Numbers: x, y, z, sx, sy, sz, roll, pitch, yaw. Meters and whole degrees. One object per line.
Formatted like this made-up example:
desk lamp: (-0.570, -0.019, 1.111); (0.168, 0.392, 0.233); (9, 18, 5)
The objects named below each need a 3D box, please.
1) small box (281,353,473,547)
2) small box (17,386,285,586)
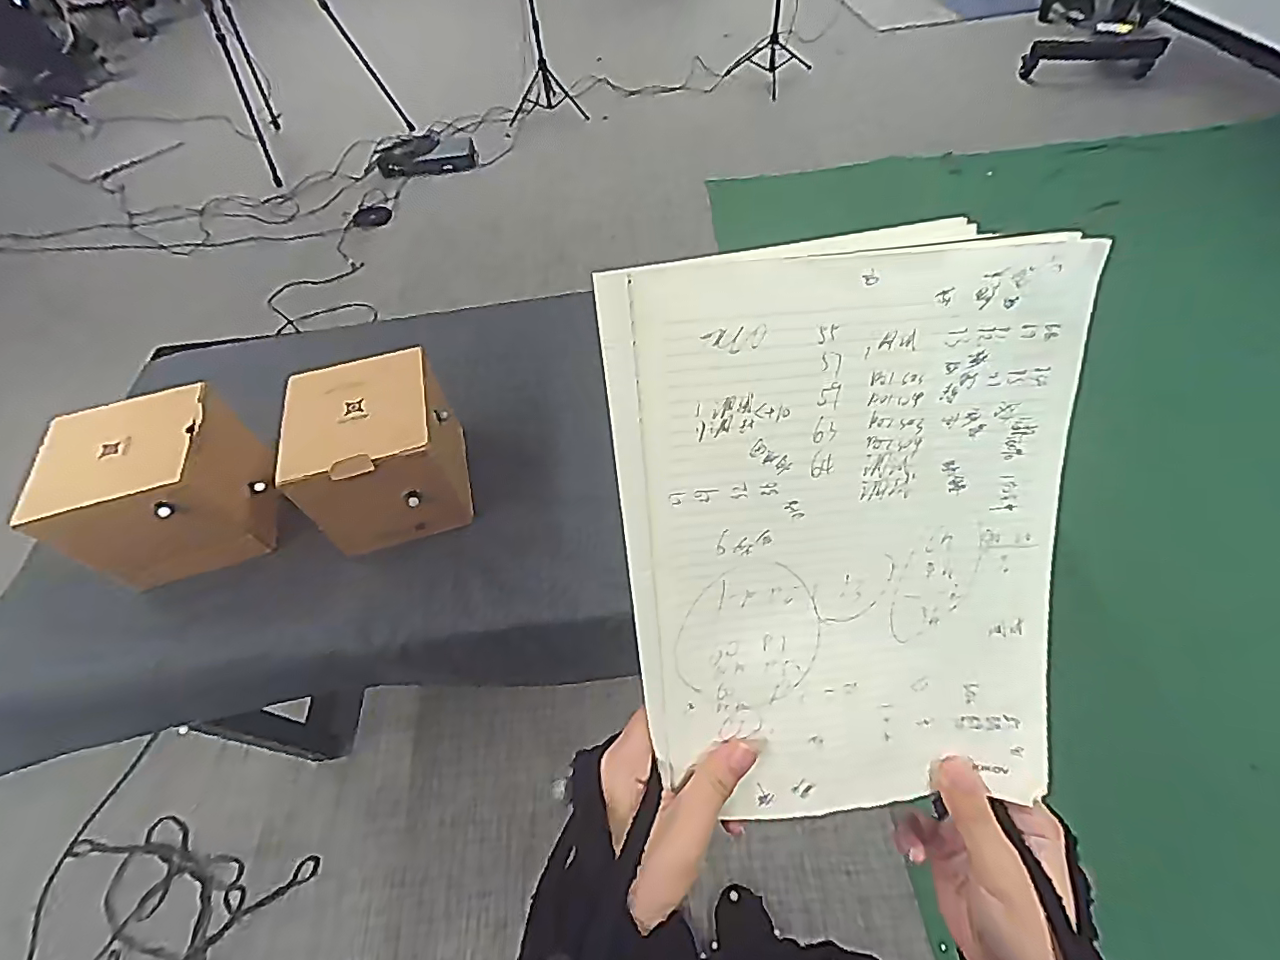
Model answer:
small box: (-0.325, -0.031, 0.699); (0.168, 0.176, 0.179); (-14, 53, -7)
small box: (-0.594, 0.012, 0.691); (0.179, 0.176, 0.168); (-16, 54, -8)
